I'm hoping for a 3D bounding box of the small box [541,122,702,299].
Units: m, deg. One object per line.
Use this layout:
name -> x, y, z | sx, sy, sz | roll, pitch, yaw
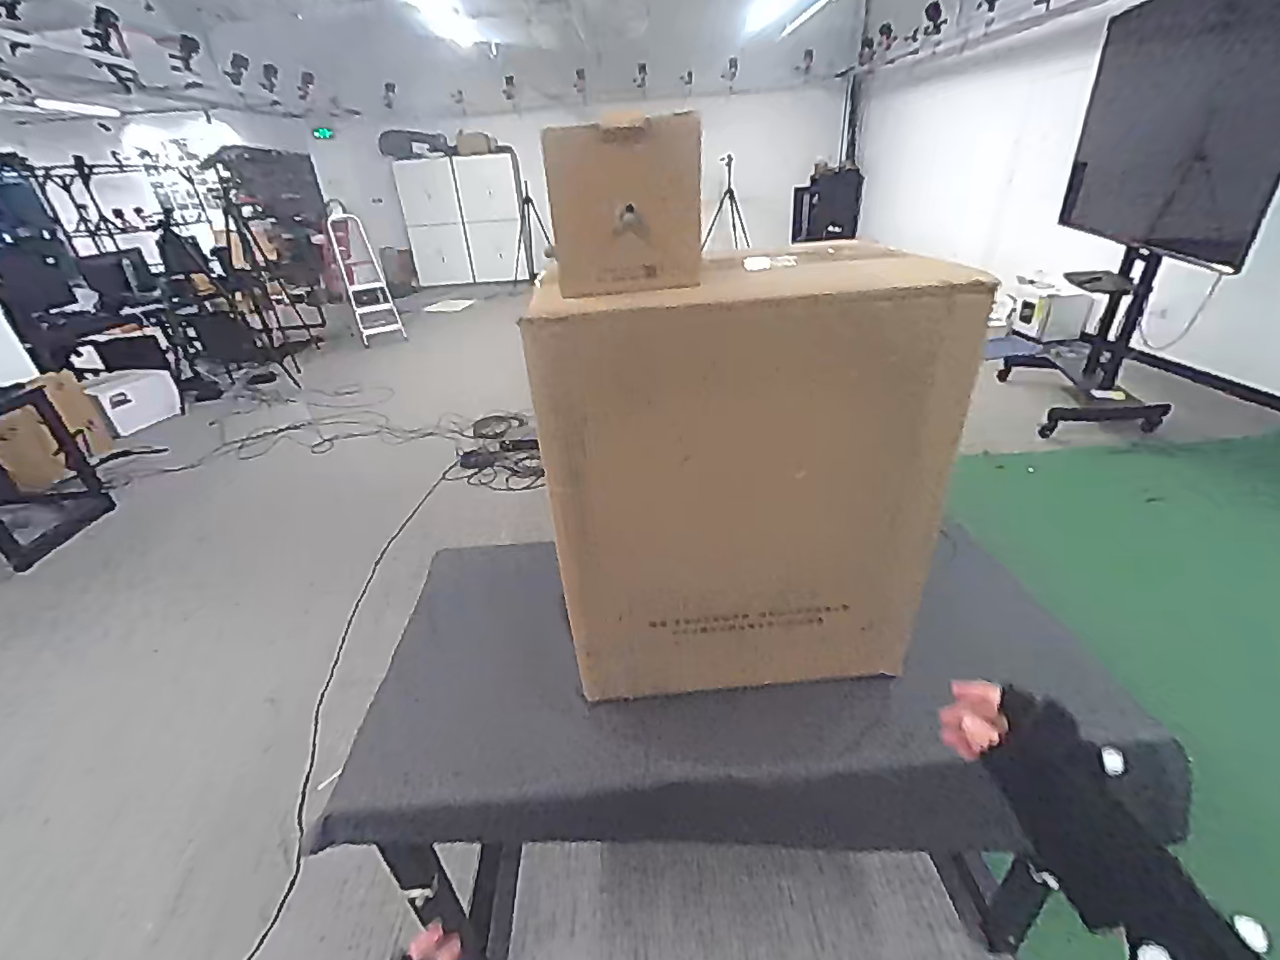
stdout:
small box -> -0.020, -0.325, 0.657 | 0.168, 0.176, 0.179 | -7, 33, -3
